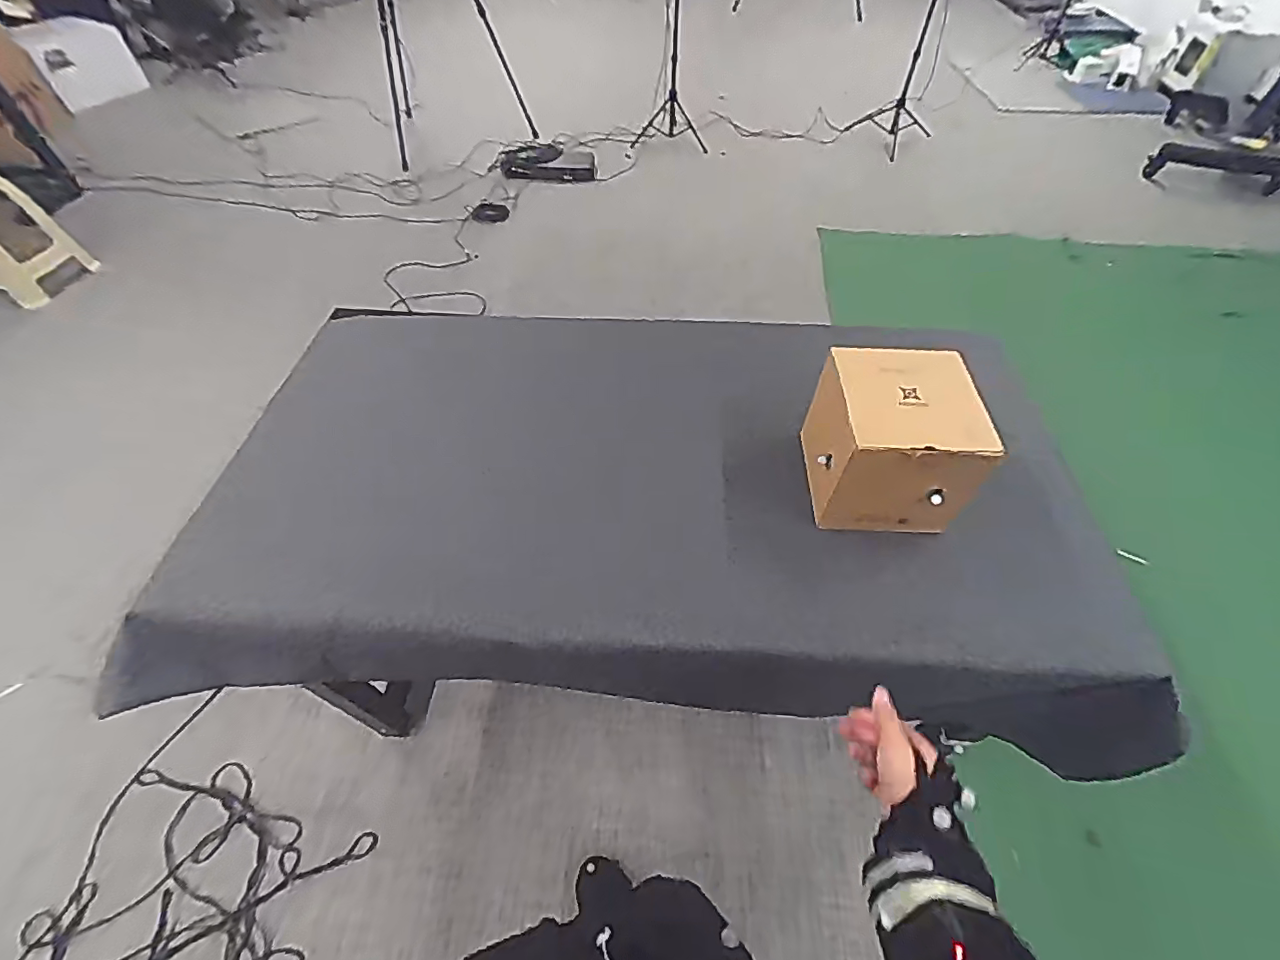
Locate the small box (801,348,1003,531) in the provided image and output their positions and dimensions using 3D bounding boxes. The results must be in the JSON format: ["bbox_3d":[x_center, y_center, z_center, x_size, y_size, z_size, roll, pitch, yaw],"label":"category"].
[{"bbox_3d":[0.318,-0.048,0.703,0.168,0.176,0.179,3,51,1],"label":"small box"}]
